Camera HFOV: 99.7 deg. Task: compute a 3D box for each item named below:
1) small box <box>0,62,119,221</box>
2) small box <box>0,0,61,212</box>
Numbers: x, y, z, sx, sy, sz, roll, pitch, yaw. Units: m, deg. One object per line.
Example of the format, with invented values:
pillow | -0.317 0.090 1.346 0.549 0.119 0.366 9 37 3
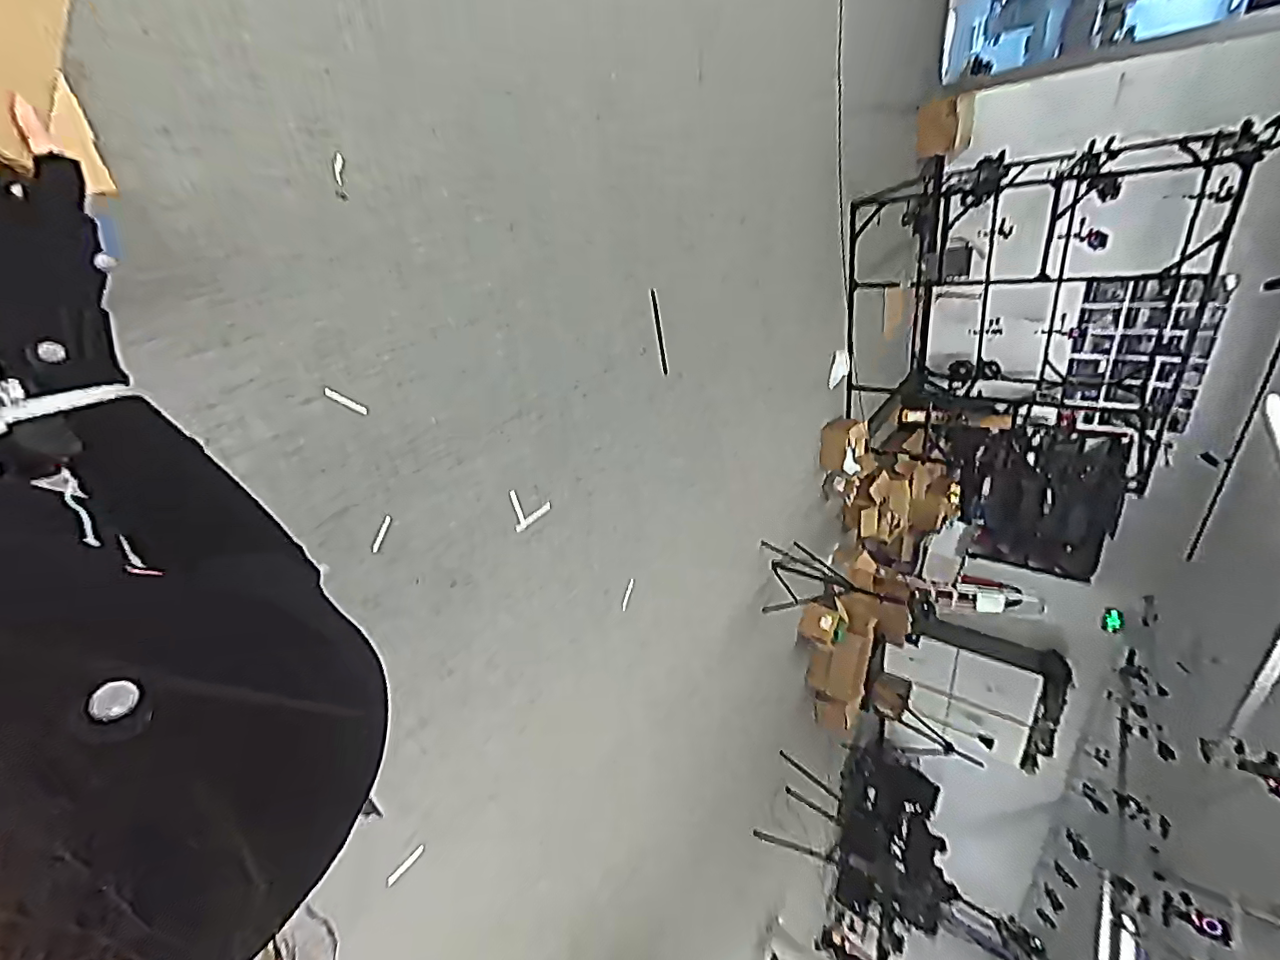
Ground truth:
small box | -0.796 -0.414 0.656 0.179 0.176 0.168 -33 124 -45
small box | -0.494 -0.267 0.301 0.179 0.168 0.176 48 34 -75
